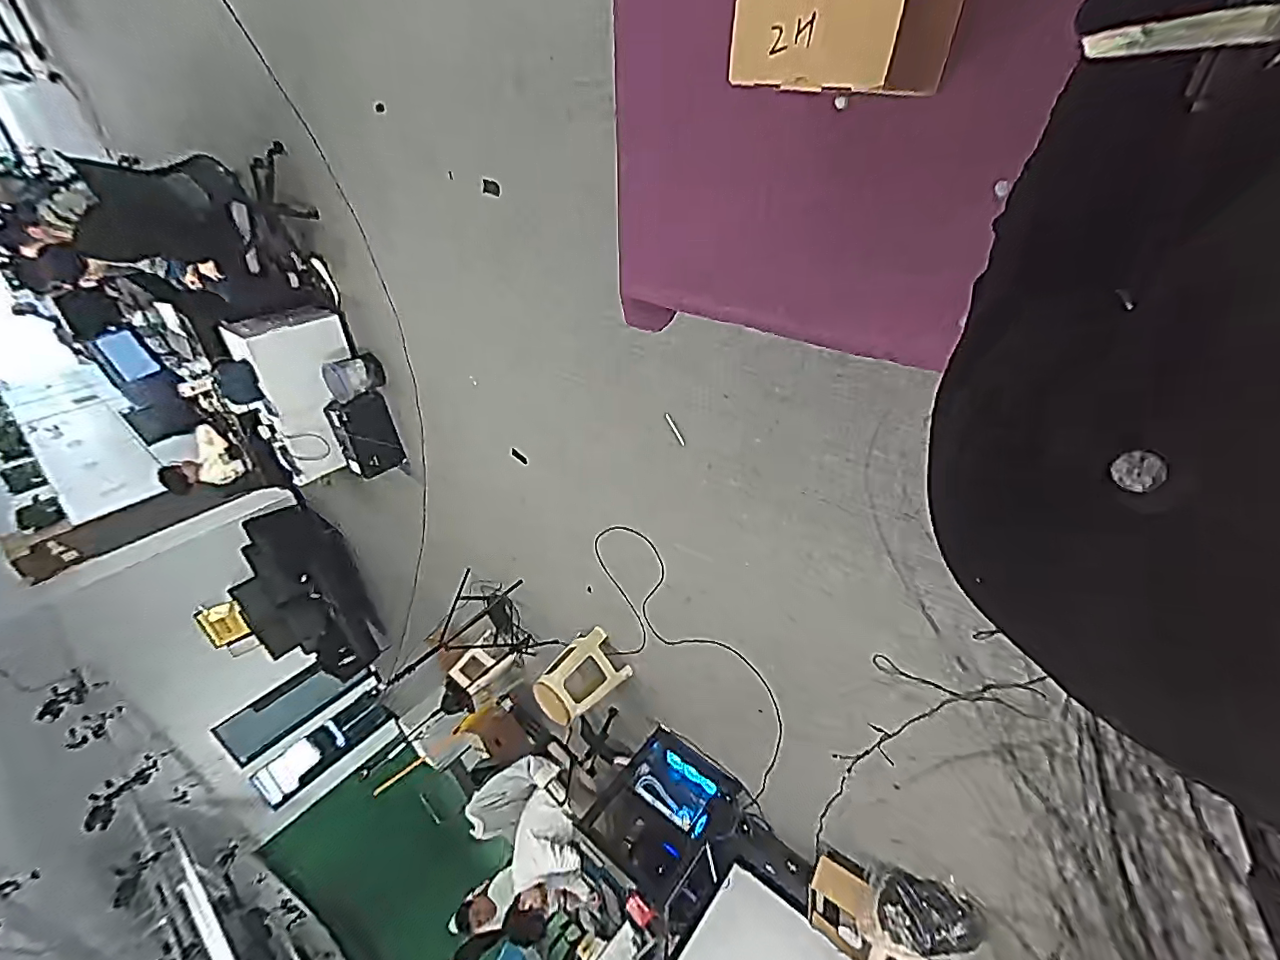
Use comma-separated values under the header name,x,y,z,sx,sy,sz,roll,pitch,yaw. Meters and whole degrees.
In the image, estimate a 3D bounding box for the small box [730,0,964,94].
name,x,y,z,sx,sy,sz,roll,pitch,yaw
small box,0.210,-0.485,0.520,0.168,0.176,0.179,29,134,30
